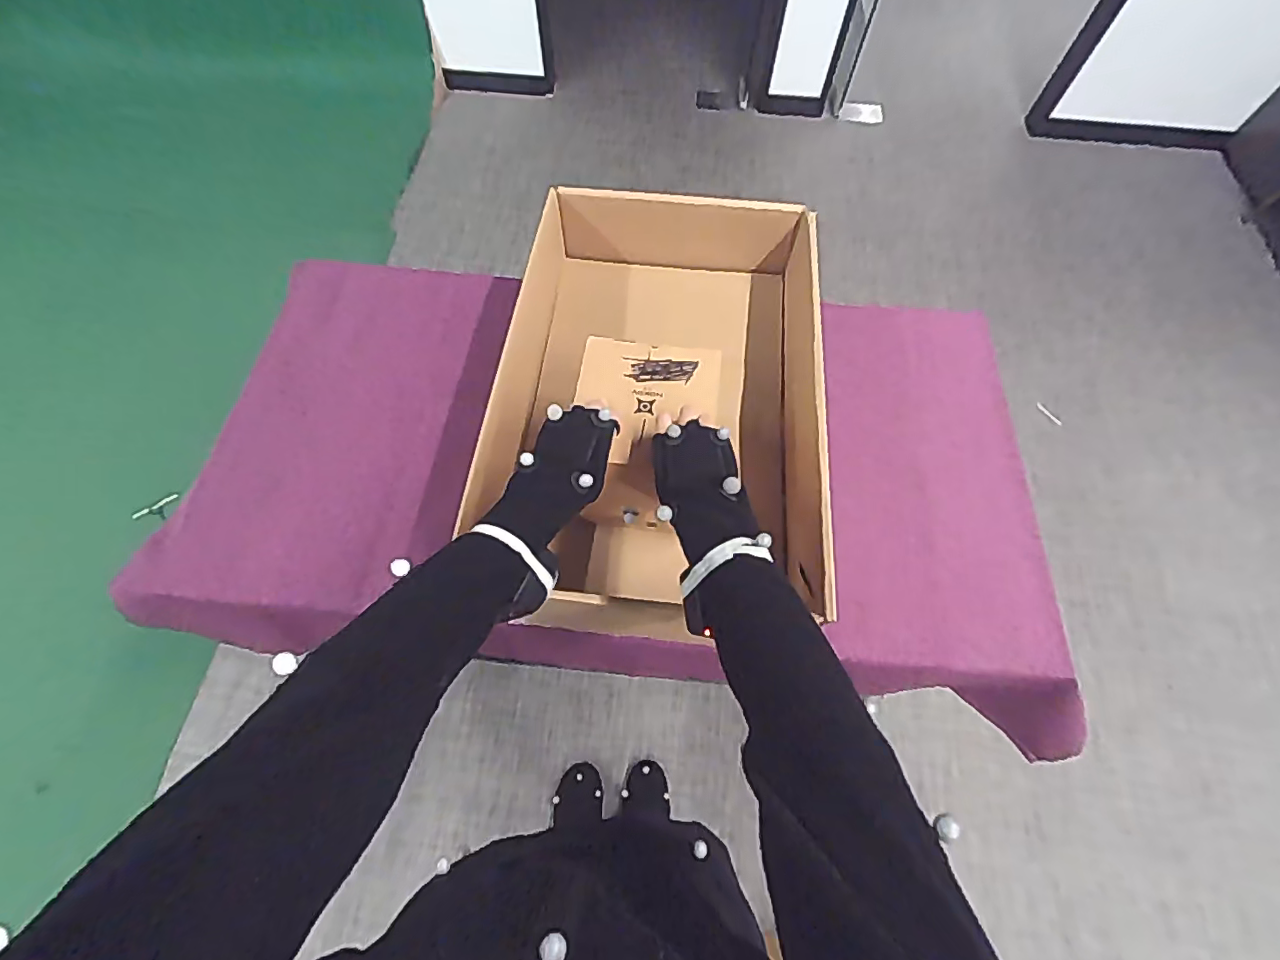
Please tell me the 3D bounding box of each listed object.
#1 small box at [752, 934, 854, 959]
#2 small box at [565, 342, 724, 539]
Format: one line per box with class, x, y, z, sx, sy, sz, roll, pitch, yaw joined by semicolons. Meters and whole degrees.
small box;0.318;1.007;1.044;0.179;0.176;0.168;1;63;-1
small box;0.007;-0.045;0.683;0.168;0.176;0.179;7;62;2
